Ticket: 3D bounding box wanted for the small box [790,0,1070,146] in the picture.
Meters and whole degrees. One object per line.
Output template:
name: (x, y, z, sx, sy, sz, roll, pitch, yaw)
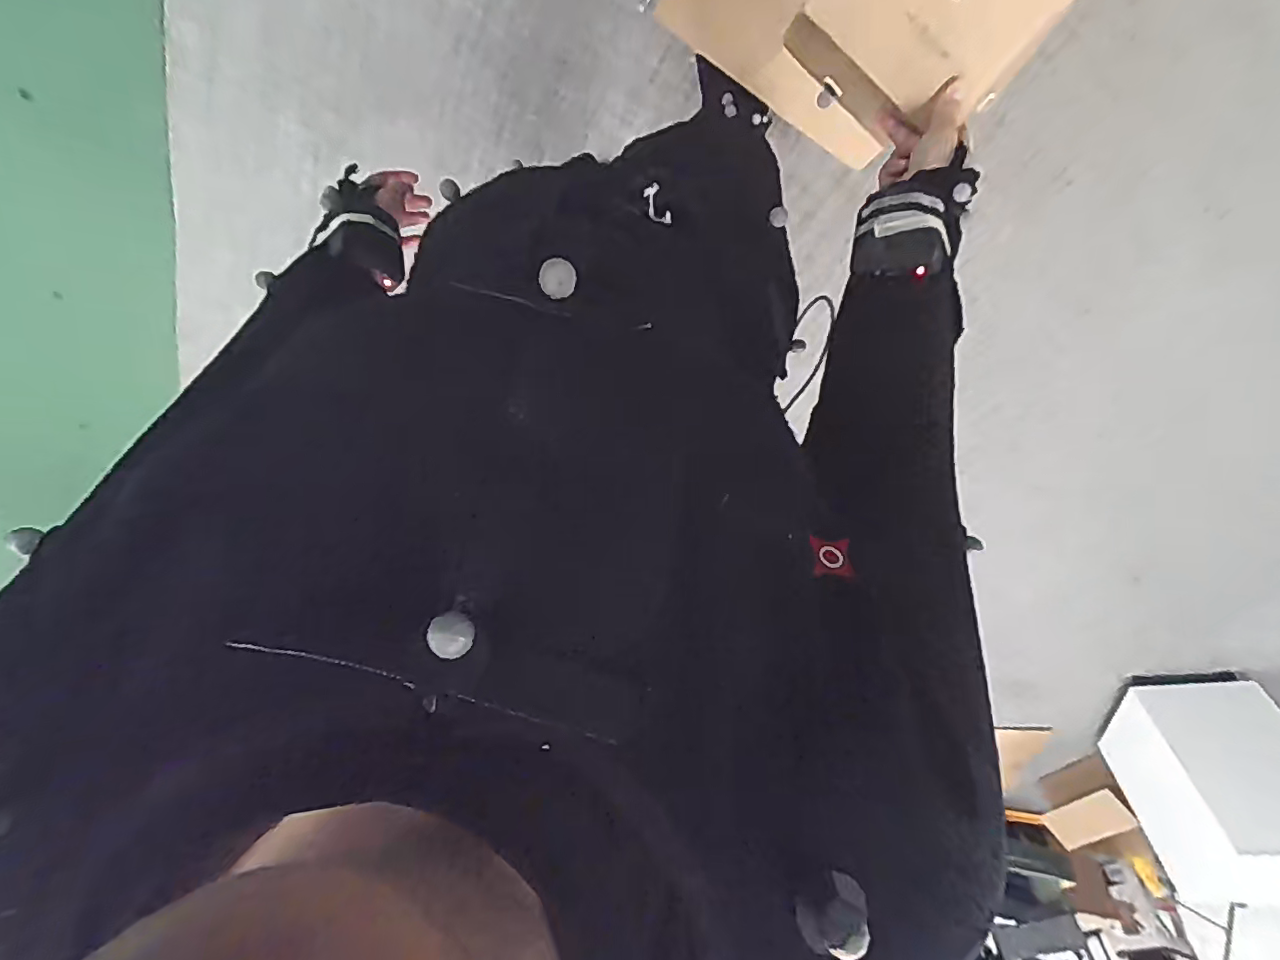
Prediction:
small box: (0.253, -0.429, 0.474, 0.168, 0.176, 0.179, 35, 118, -12)
